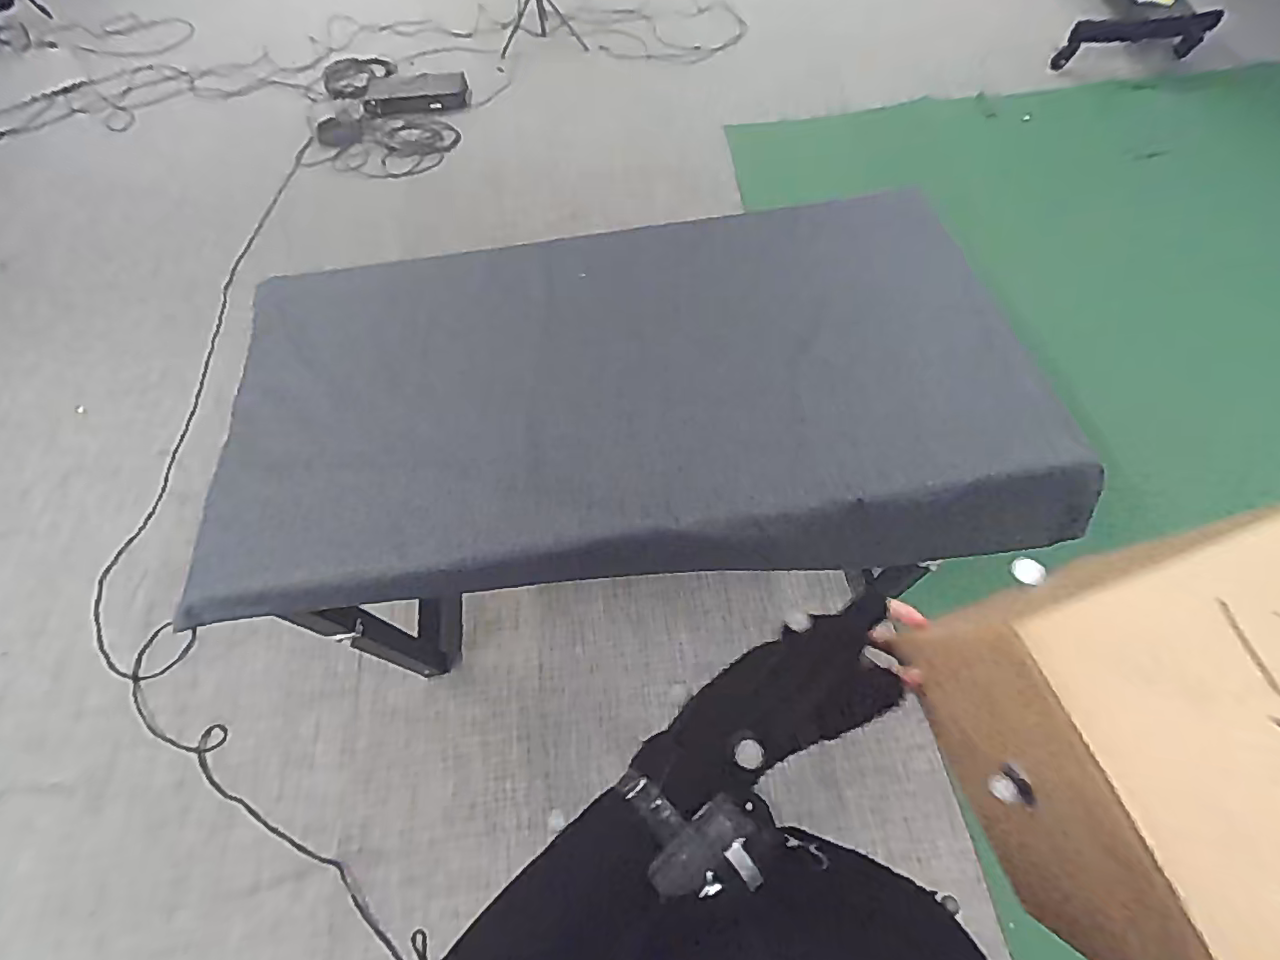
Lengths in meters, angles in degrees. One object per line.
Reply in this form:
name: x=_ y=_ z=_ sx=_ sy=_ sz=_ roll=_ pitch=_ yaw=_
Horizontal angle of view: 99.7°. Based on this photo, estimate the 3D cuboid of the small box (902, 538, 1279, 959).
small box: x=0.281 y=0.146 z=0.294 sx=0.168 sy=0.176 sz=0.179 roll=-21 pitch=71 yaw=-1
